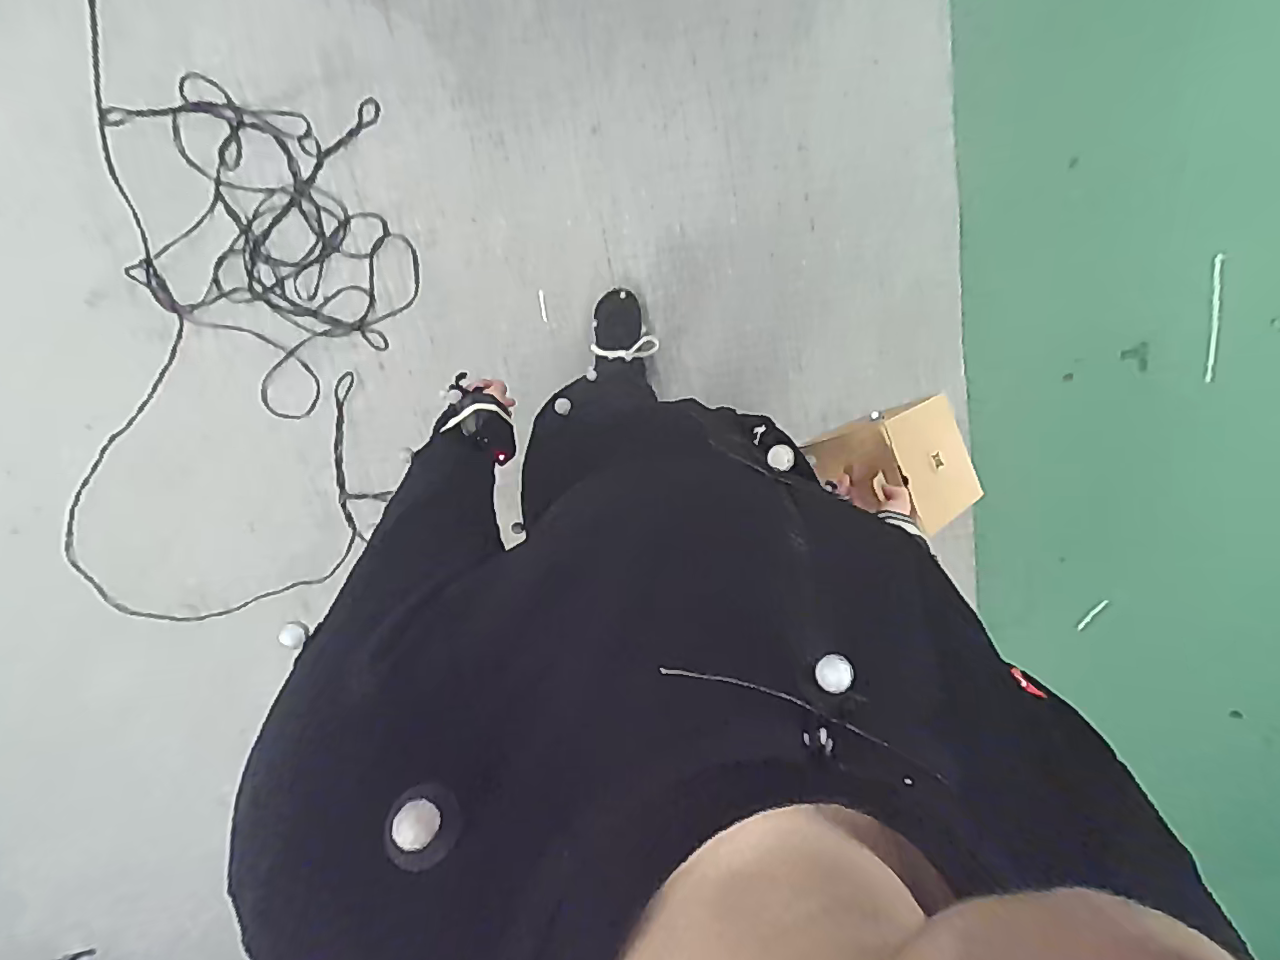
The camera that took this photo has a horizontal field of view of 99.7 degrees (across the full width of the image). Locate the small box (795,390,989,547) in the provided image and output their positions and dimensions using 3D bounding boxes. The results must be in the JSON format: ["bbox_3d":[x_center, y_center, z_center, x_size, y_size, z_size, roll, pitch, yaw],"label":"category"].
[{"bbox_3d":[0.362,-0.012,0.788,0.179,0.176,0.168,-23,92,-34],"label":"small box"}]
